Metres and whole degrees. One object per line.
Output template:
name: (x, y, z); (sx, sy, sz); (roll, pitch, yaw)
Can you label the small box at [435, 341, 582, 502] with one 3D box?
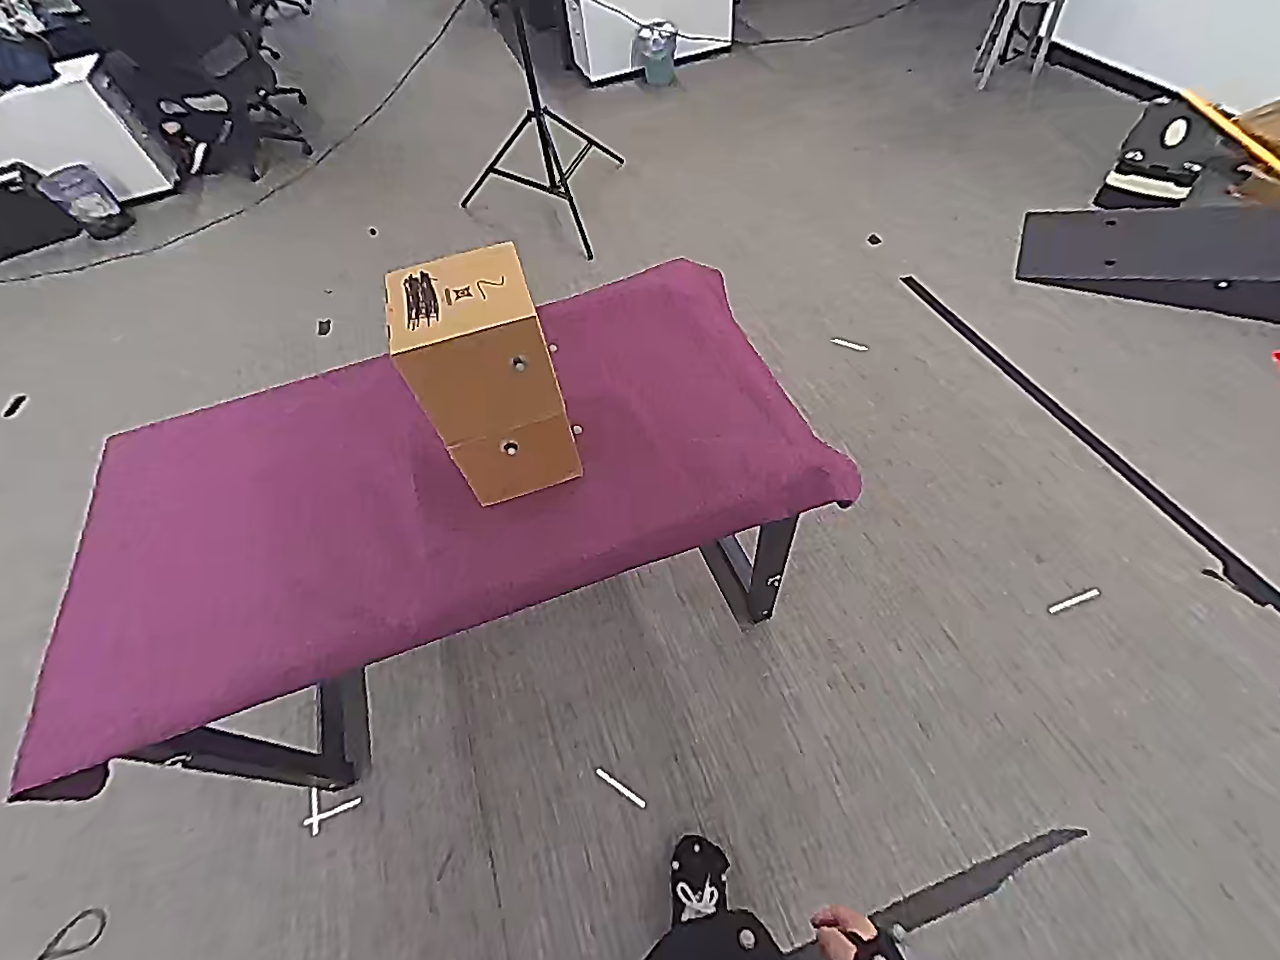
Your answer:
small box: (-0.207, -0.088, 0.871); (0.179, 0.176, 0.168); (-18, 56, -7)
